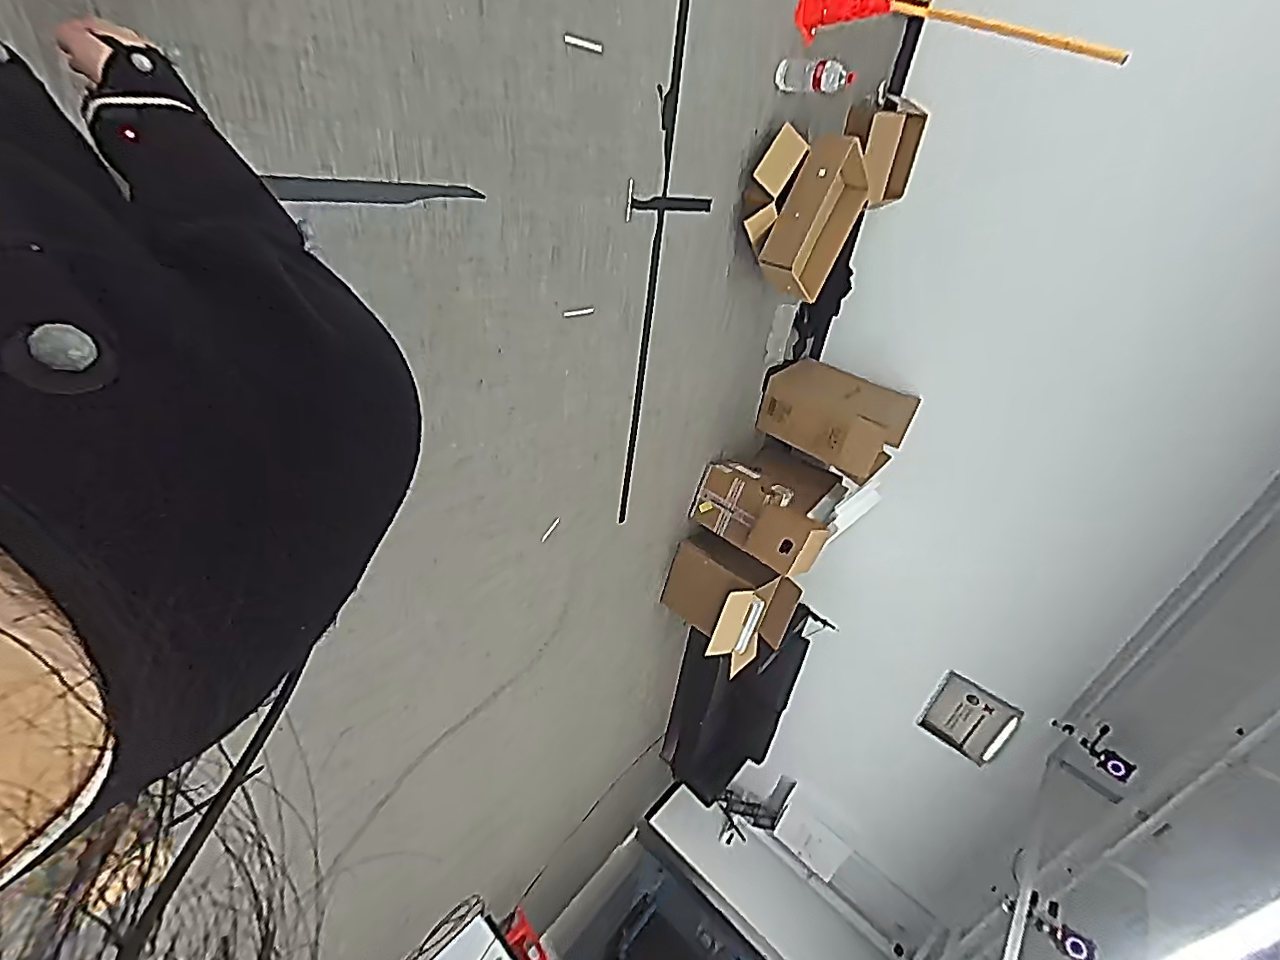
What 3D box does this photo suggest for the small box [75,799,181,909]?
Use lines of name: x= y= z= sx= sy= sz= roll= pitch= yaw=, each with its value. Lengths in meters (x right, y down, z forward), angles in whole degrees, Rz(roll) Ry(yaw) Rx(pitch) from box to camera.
small box: x=-1.478 y=1.073 z=1.564 sx=0.168 sy=0.176 sz=0.179 roll=-28 pitch=138 yaw=-41
